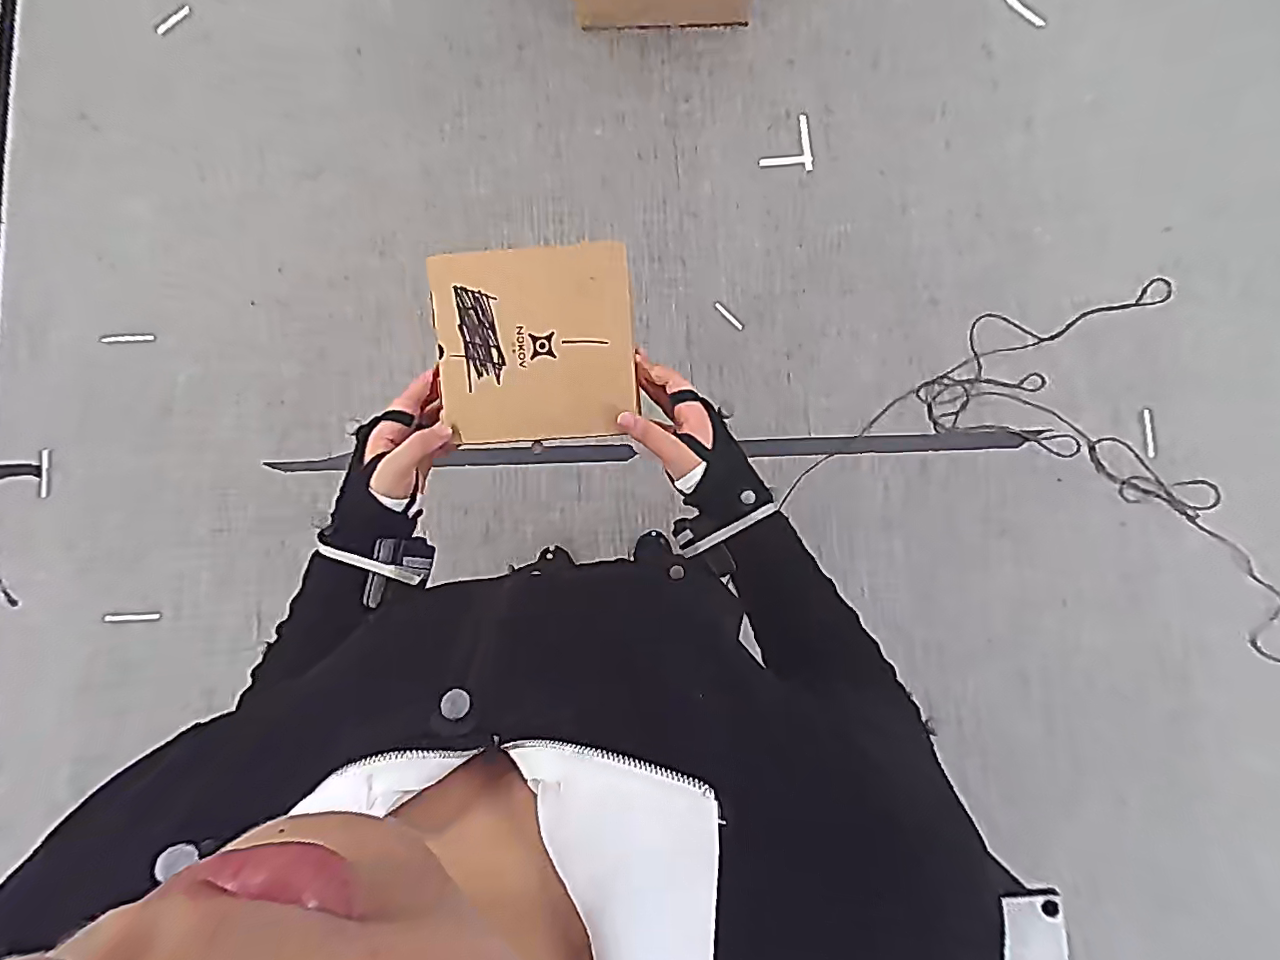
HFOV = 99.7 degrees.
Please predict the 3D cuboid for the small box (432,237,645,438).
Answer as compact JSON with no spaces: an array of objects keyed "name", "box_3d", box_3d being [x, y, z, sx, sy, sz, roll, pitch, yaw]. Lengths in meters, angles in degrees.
[{"name":"small box","box_3d":[-0.088,-0.129,0.551,0.179,0.176,0.168,-3,95,2]}]
